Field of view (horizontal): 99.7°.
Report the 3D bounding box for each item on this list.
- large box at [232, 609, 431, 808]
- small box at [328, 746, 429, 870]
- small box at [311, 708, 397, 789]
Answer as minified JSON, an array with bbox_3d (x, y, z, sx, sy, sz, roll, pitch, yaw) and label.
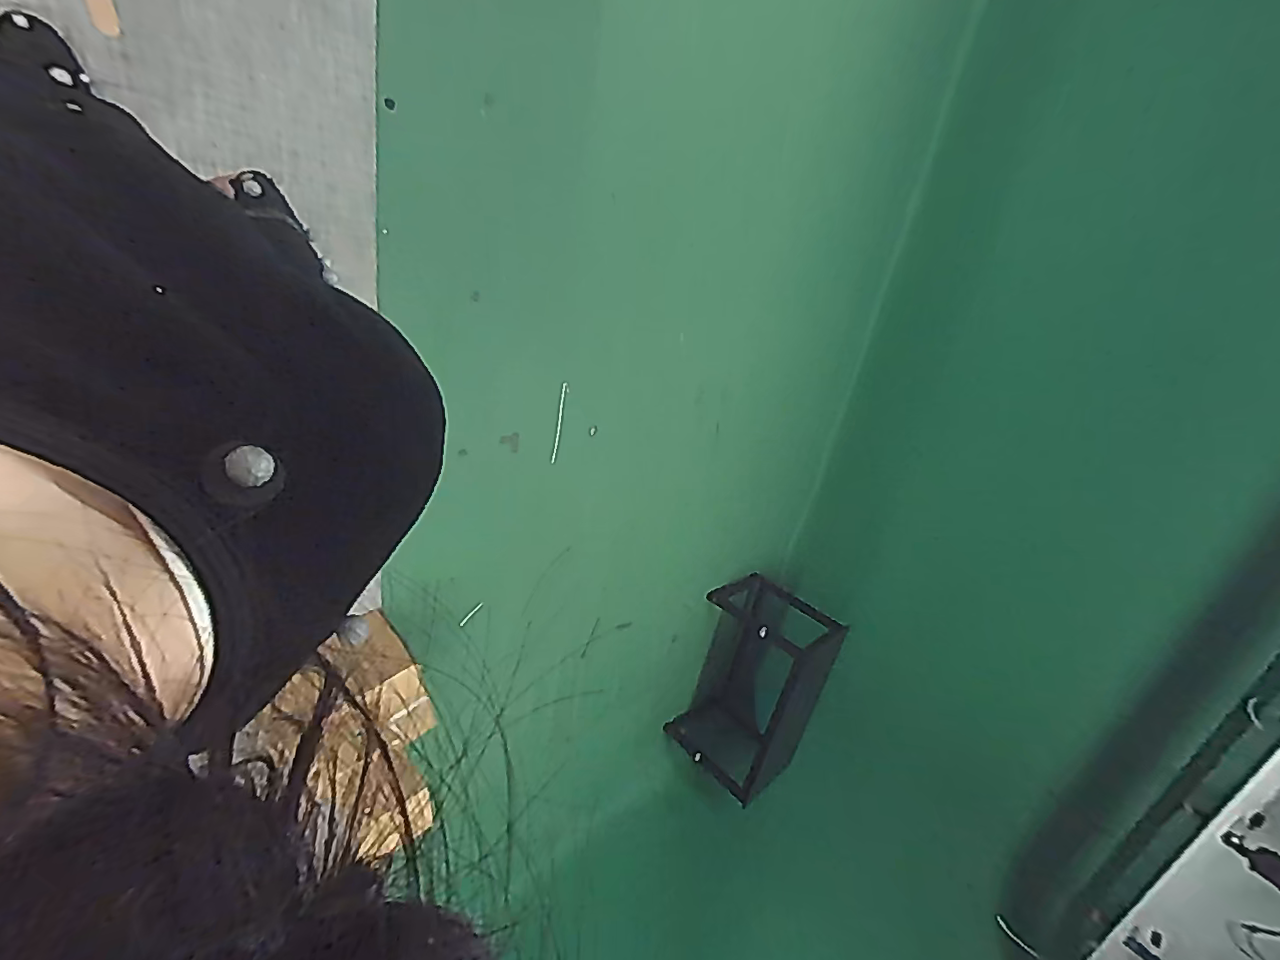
[{"bbox_3d":[-0.931,0.678,1.661,0.408,0.320,0.320,-29,134,-37],"label":"large box"},{"bbox_3d":[-0.667,0.830,1.386,0.179,0.176,0.168,-20,127,-40],"label":"small box"},{"bbox_3d":[-0.777,0.759,1.482,0.168,0.176,0.179,-21,128,-39],"label":"small box"}]
